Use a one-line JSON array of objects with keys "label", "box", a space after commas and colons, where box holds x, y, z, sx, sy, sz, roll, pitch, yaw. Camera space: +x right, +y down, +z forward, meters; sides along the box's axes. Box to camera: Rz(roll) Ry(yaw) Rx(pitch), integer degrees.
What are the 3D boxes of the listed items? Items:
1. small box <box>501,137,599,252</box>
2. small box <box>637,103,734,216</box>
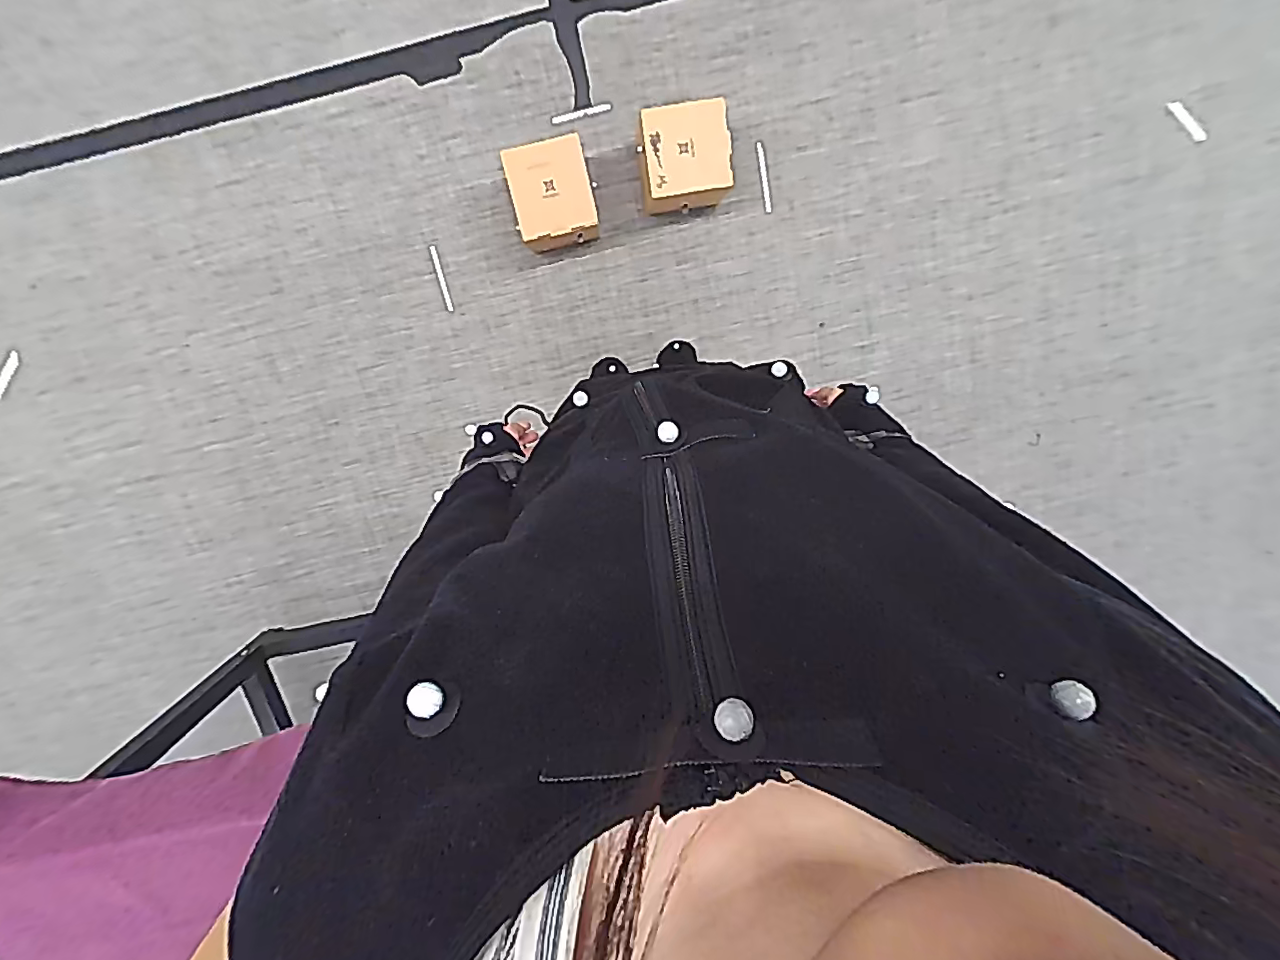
[{"label": "small box", "box": [-0.186, -0.612, 1.185, 0.168, 0.176, 0.179, -14, 104, 0]}, {"label": "small box", "box": [0.095, -0.690, 1.180, 0.179, 0.176, 0.168, -9, 106, -2]}]
